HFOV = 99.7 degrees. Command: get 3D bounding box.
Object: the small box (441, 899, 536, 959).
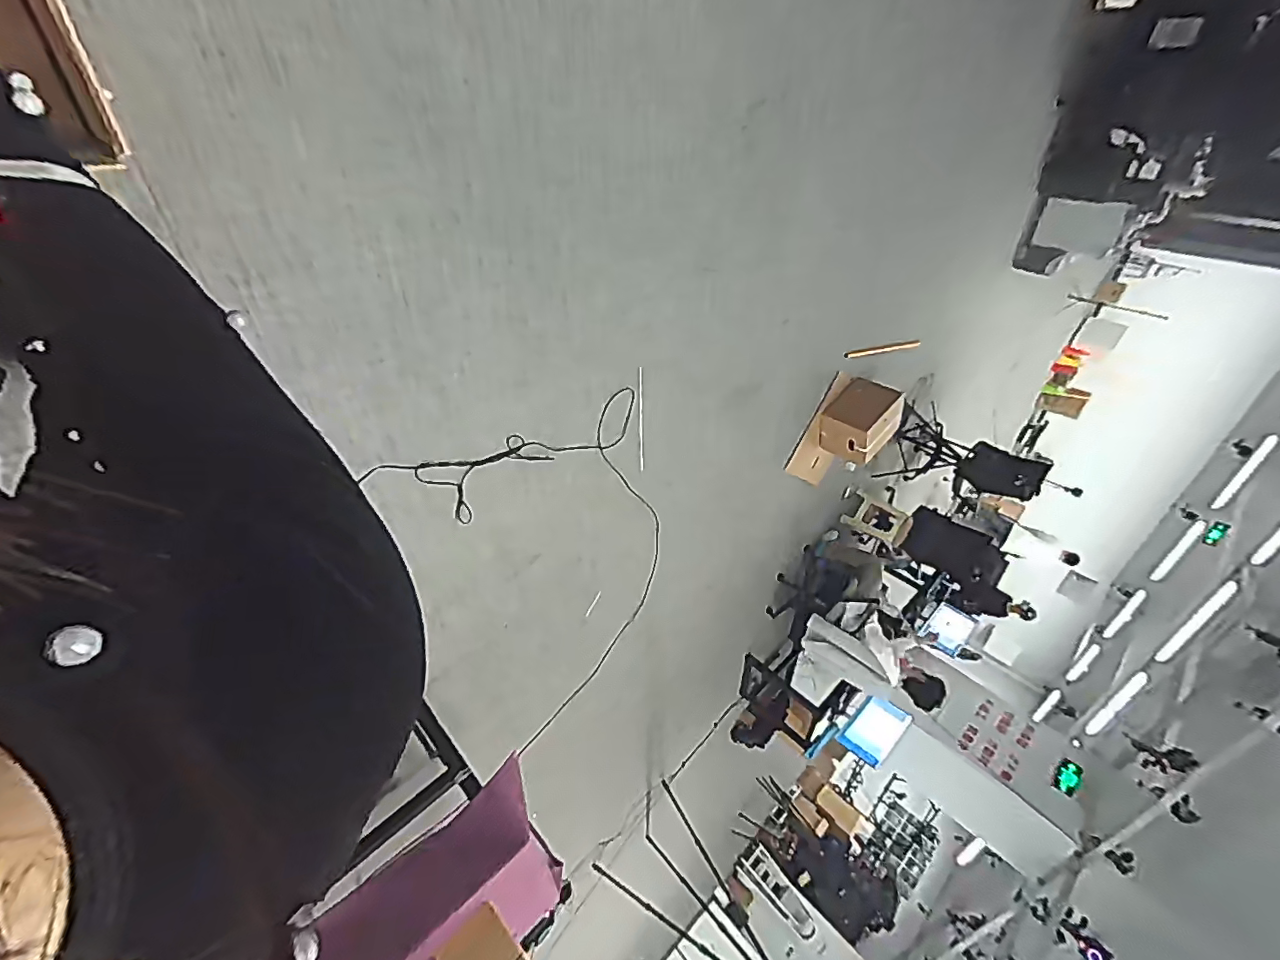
[{"bbox_3d":[-0.404,1.286,1.455,0.179,0.176,0.168,-30,137,-30],"label":"small box"}]
